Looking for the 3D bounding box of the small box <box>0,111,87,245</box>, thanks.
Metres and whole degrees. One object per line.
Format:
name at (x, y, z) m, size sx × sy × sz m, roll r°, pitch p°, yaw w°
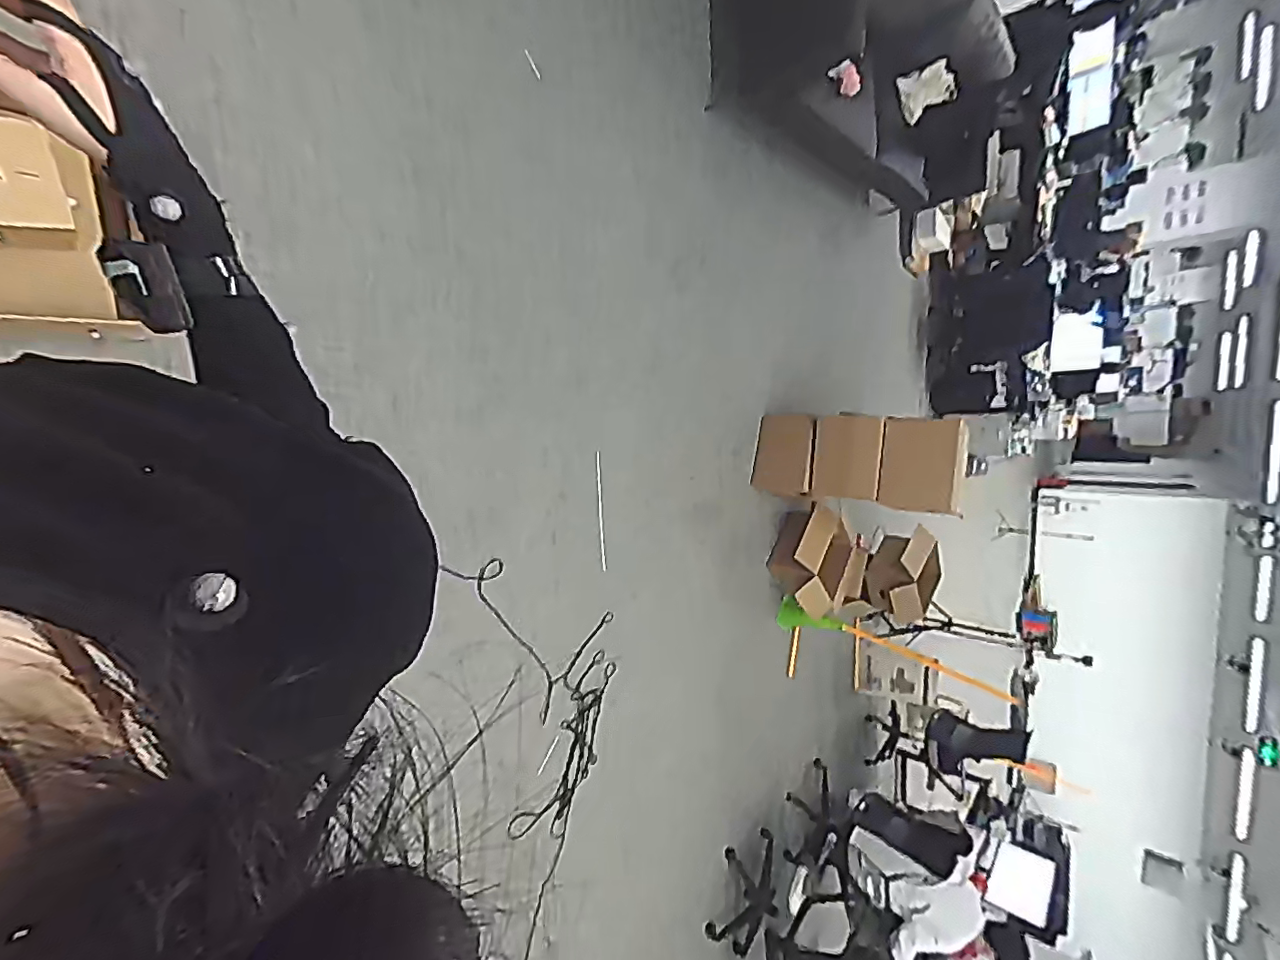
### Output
small box at (-1.075, -0.504, 0.910) m, size 0.179 × 0.176 × 0.168 m, roll -19°, pitch 108°, yaw -43°
